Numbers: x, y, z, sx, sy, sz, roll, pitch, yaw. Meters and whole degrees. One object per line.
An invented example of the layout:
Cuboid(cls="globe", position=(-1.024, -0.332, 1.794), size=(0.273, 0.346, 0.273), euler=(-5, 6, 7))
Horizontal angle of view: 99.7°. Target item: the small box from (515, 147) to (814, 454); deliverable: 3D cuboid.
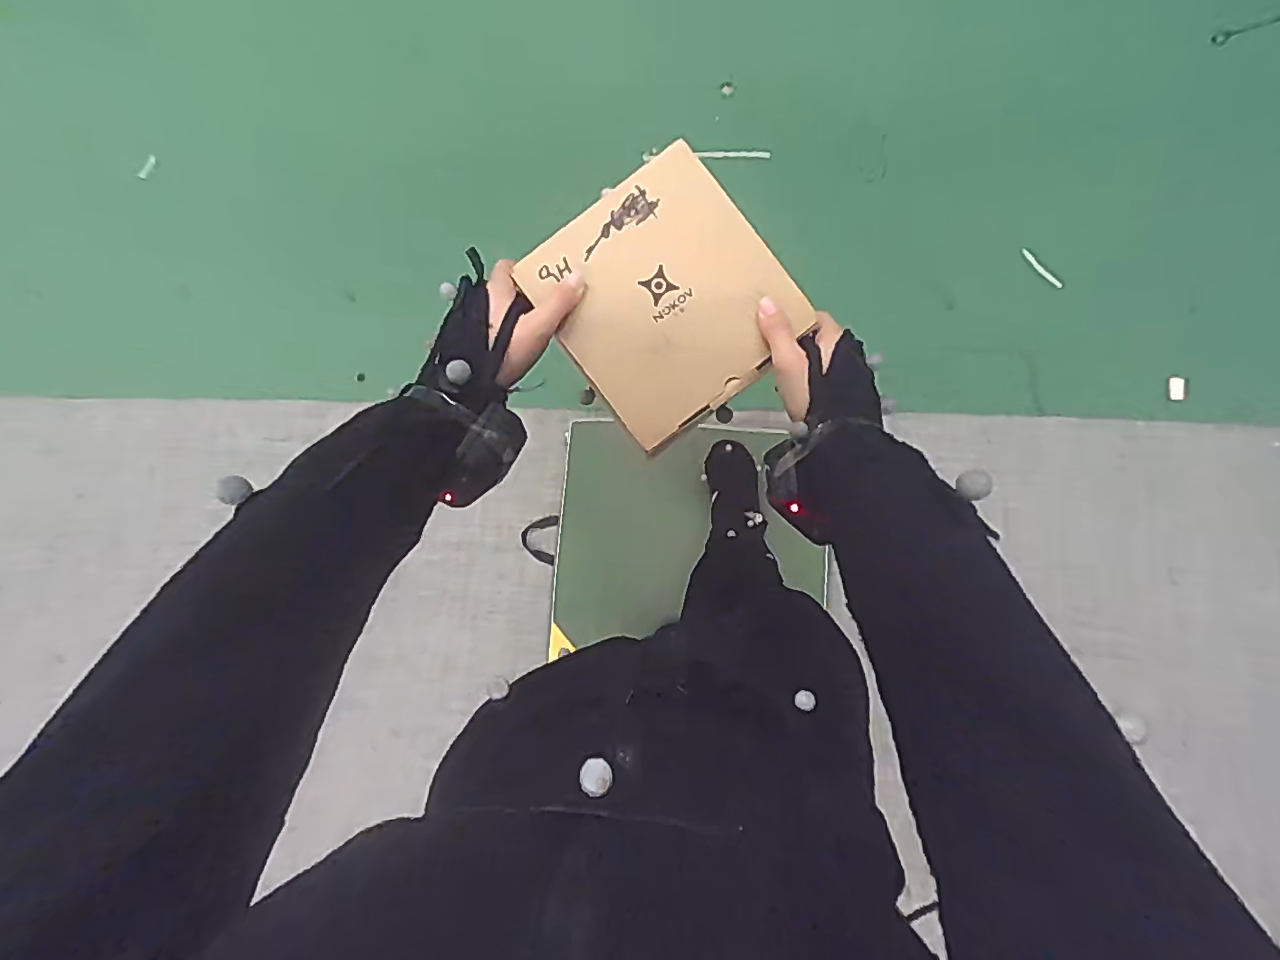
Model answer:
Cuboid(cls="small box", position=(0.020, -0.138, 0.489), size=(0.168, 0.176, 0.179), euler=(-37, 90, -1))
